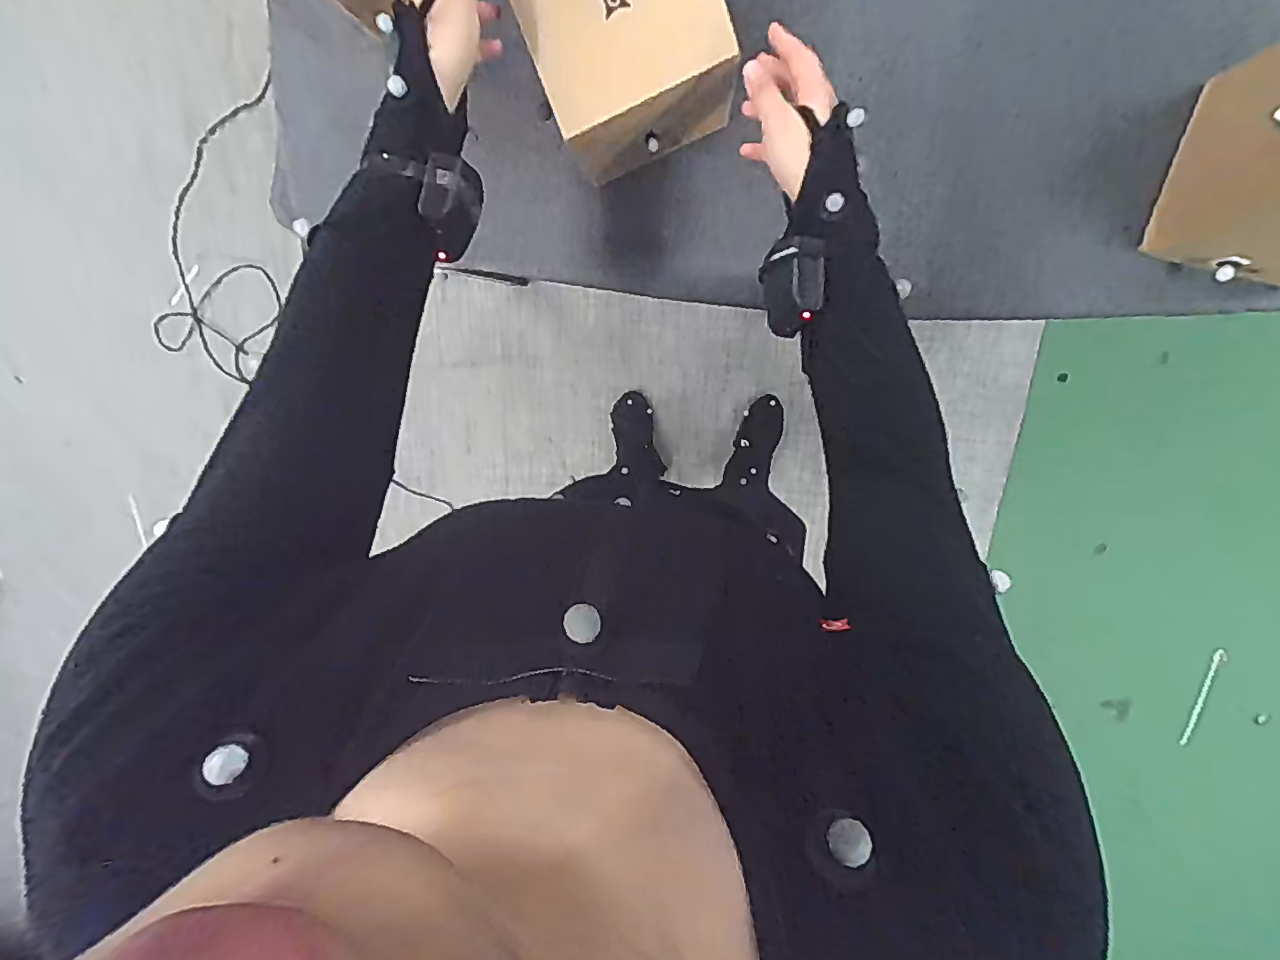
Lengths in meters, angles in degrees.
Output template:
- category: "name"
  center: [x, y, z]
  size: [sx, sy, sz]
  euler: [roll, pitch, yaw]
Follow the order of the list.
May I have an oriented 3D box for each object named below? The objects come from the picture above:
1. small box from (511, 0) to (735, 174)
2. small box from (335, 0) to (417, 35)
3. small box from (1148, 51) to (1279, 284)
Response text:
- category: "small box"
  center: [-0.015, -0.426, 0.524]
  size: [0.168, 0.176, 0.179]
  euler: [-20, 103, 10]
- category: "small box"
  center: [-0.302, -0.586, 0.508]
  size: [0.179, 0.176, 0.168]
  euler: [43, 106, -8]
- category: "small box"
  center: [0.634, -0.292, 0.492]
  size: [0.168, 0.176, 0.179]
  euler: [13, 104, 4]
